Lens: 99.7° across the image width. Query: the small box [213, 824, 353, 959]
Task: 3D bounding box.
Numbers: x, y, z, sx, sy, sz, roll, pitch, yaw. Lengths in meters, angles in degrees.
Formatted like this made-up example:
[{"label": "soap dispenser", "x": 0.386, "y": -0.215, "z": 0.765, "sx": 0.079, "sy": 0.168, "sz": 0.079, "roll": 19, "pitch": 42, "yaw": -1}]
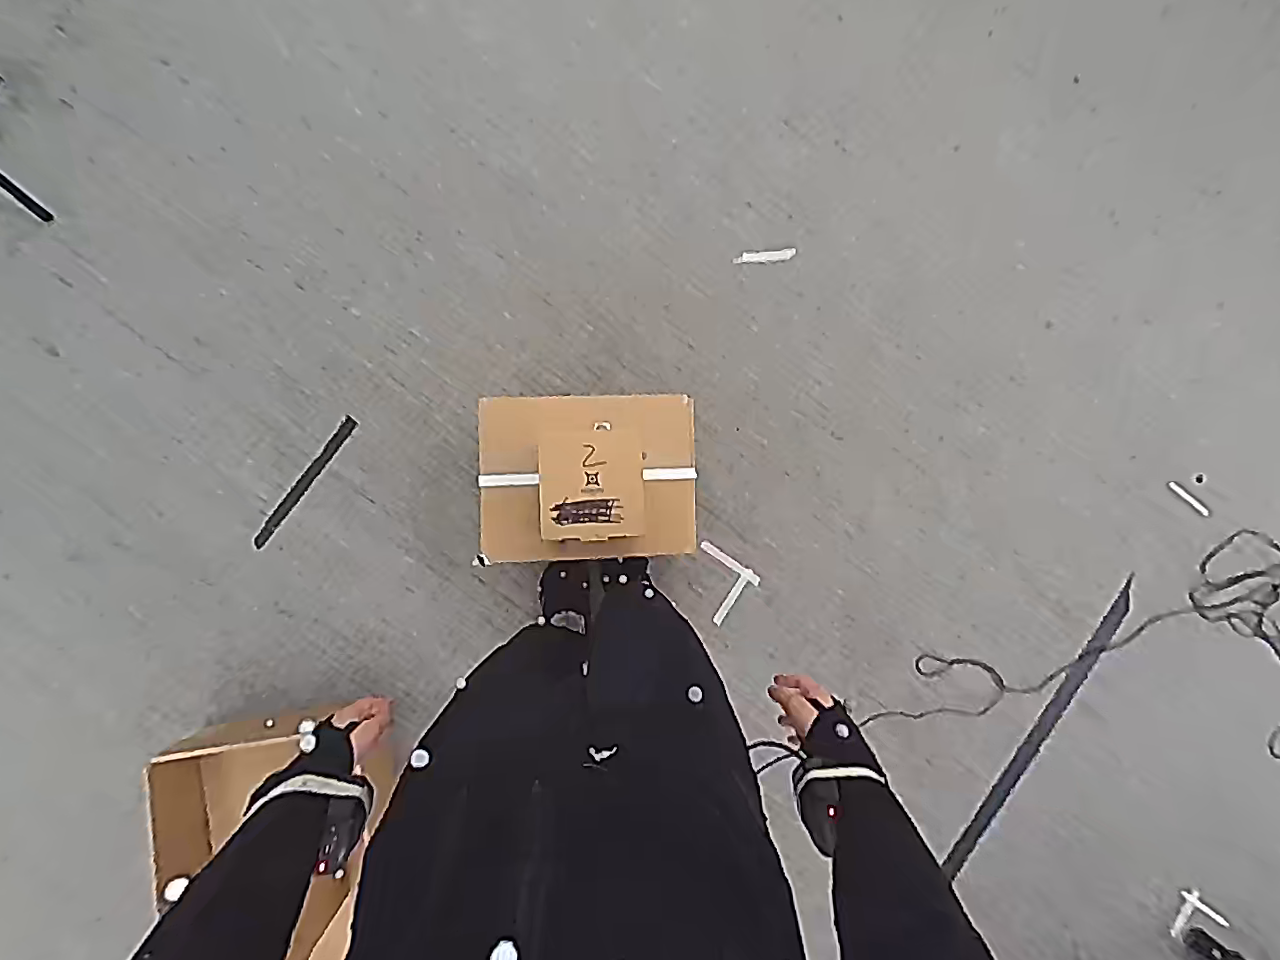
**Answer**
[{"label": "small box", "x": -0.720, "y": 0.844, "z": 1.105, "sx": 0.179, "sy": 0.176, "sz": 0.168, "roll": -7, "pitch": 88, "yaw": -6}]
